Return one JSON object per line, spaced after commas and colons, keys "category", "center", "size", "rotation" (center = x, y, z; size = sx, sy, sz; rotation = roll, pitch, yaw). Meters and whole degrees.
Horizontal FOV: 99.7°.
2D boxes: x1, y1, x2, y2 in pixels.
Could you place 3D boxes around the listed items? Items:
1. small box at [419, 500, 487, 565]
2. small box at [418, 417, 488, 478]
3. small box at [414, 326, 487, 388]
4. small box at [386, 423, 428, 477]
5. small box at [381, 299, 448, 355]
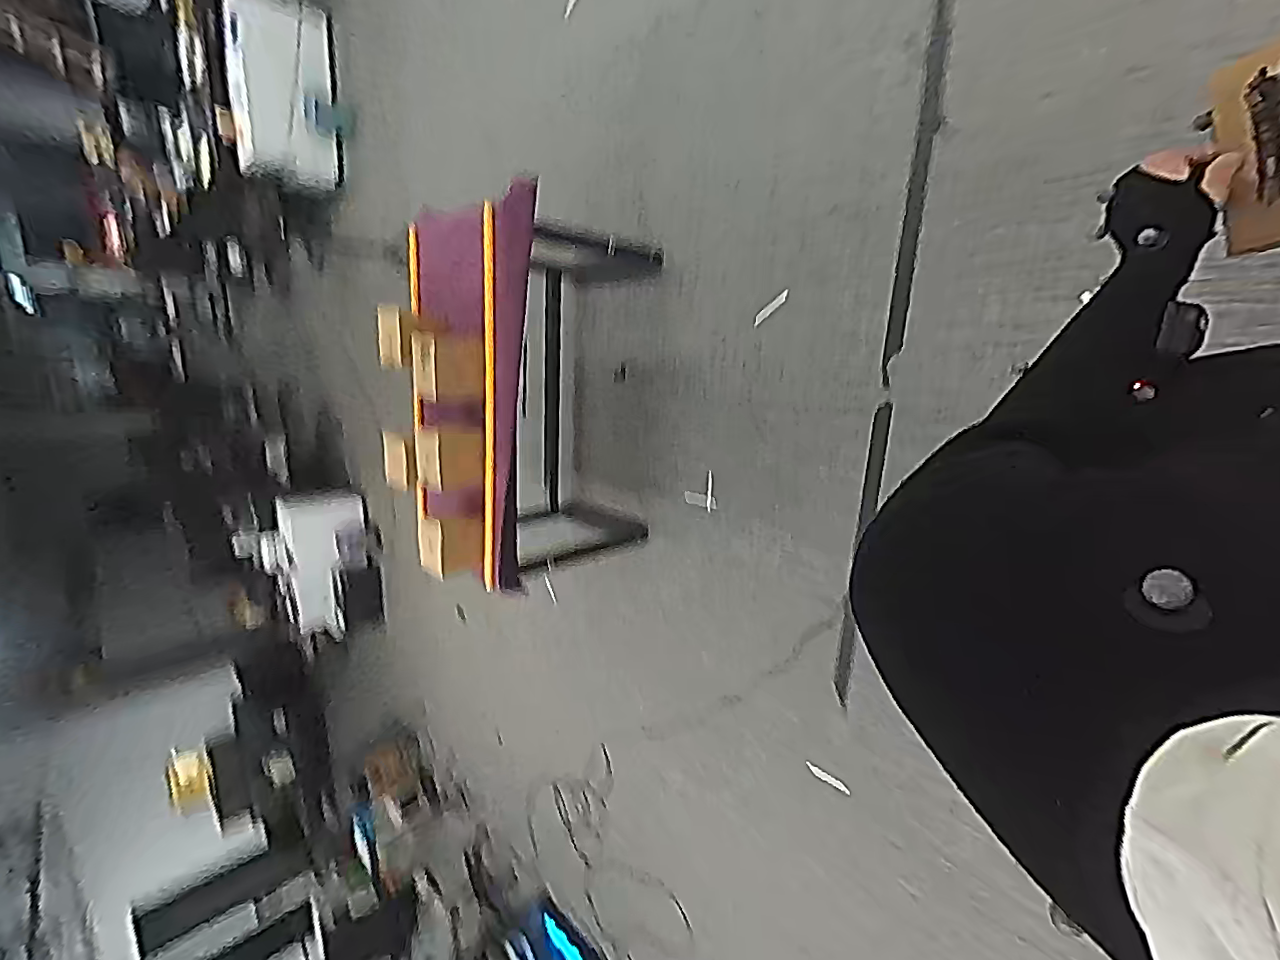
{"category": "small box", "center": [-0.638, 0.172, 1.855], "size": [0.168, 0.176, 0.179], "rotation": [16, 106, 43]}
{"category": "small box", "center": [-0.616, -0.114, 1.785], "size": [0.168, 0.176, 0.179], "rotation": [15, 107, 43]}
{"category": "small box", "center": [-0.600, -0.391, 1.721], "size": [0.168, 0.176, 0.179], "rotation": [20, 112, 43]}
{"category": "small box", "center": [-0.809, -0.117, 1.977], "size": [0.179, 0.176, 0.168], "rotation": [16, 109, 40]}
{"category": "small box", "center": [-0.779, -0.528, 1.877], "size": [0.168, 0.176, 0.179], "rotation": [17, 109, 41]}
